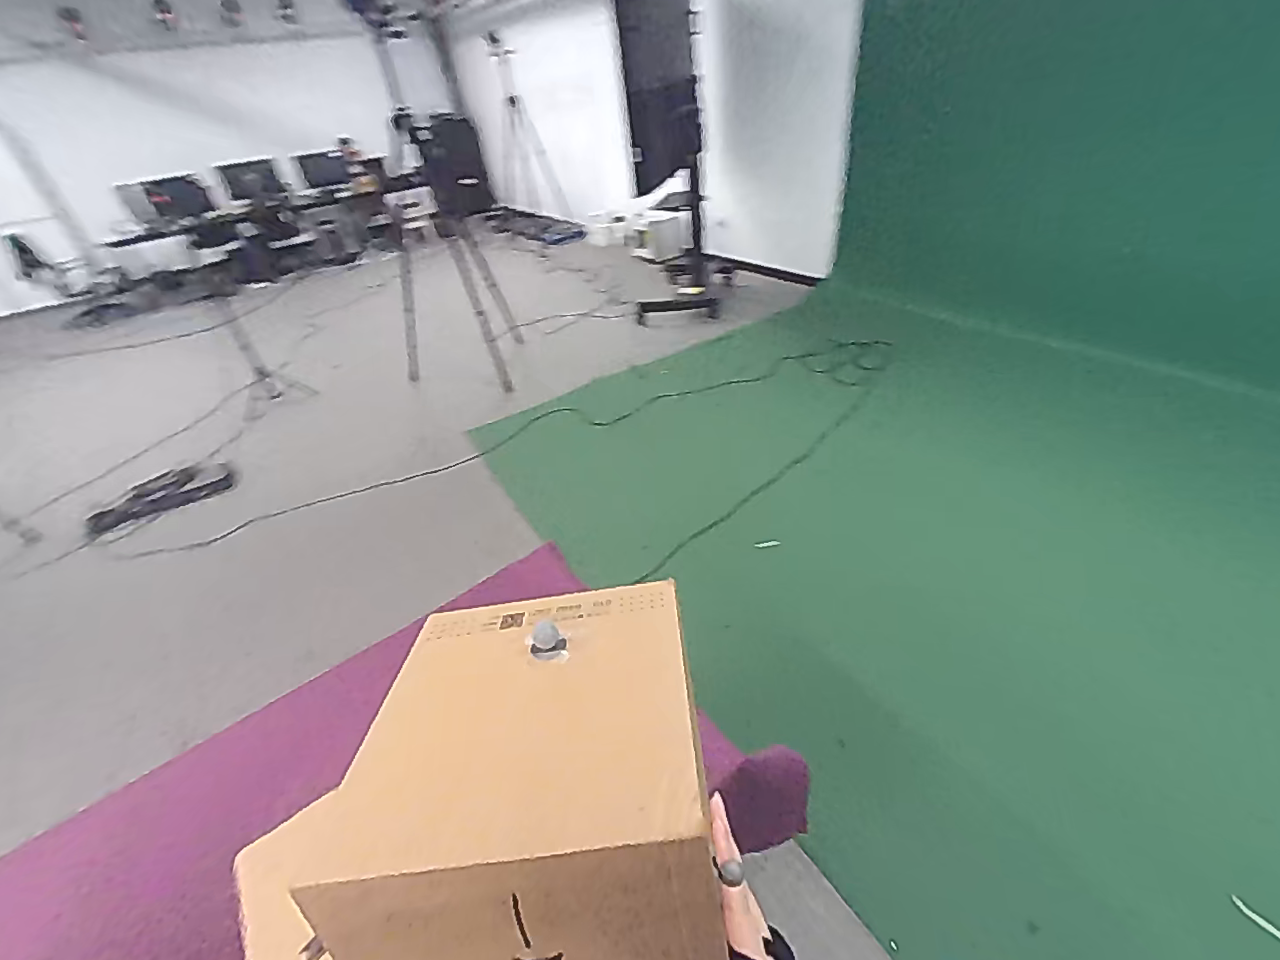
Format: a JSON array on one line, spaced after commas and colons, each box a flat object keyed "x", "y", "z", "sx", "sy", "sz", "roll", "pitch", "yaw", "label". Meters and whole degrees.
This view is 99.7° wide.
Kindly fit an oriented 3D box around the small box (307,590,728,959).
[{"x": -0.041, "y": 0.190, "z": 0.316, "sx": 0.168, "sy": 0.179, "sz": 0.176, "roll": -8, "pitch": 23, "yaw": 3, "label": "small box"}]

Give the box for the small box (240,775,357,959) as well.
[{"x": -0.325, "y": 0.483, "z": 0.630, "sx": 0.168, "sy": 0.176, "sz": 0.179, "roll": -30, "pitch": 41, "yaw": -25, "label": "small box"}]
